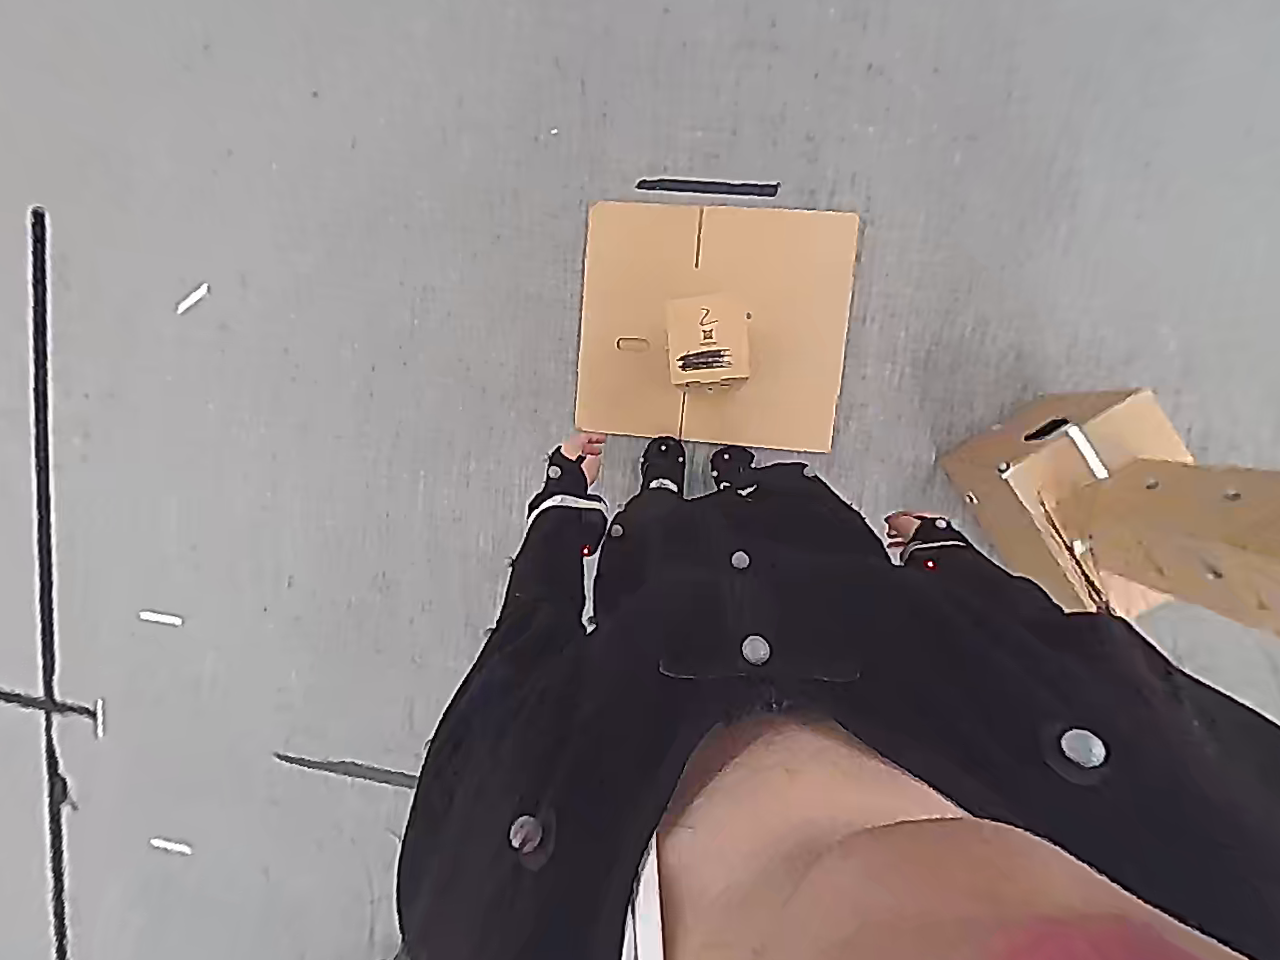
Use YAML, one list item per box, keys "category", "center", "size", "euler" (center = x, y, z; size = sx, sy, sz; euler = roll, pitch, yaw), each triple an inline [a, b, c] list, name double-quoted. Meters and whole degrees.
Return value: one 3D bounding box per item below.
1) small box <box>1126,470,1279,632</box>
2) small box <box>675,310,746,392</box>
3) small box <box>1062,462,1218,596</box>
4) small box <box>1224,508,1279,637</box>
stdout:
- category: "small box"
  center: [0.935, 0.098, 0.842]
  size: [0.179, 0.176, 0.168]
  euler: [-33, 92, 9]
- category: "small box"
  center: [0.177, -0.317, 1.352]
  size: [0.168, 0.176, 0.179]
  euler: [-2, 97, 9]
- category: "small box"
  center: [0.952, 0.081, 1.005]
  size: [0.179, 0.176, 0.168]
  euler: [-34, 92, 10]
- category: "small box"
  center: [0.917, 0.122, 0.682]
  size: [0.179, 0.176, 0.168]
  euler: [-34, 92, 9]
